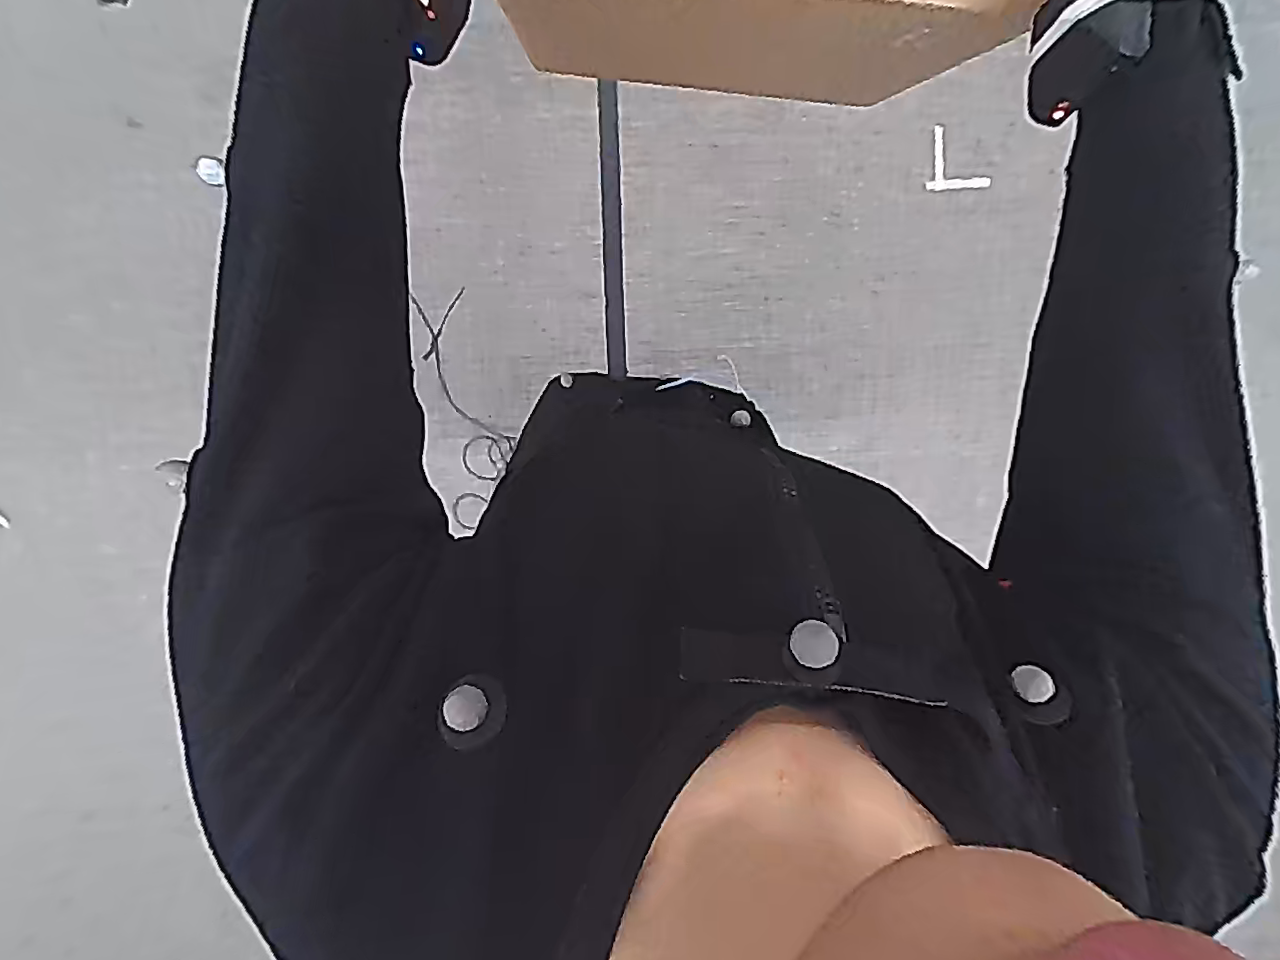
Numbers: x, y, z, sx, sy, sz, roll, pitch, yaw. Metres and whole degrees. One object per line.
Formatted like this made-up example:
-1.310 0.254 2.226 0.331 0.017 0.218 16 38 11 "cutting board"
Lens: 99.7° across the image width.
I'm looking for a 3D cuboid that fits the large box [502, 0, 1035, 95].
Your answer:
0.086 -0.542 0.439 0.408 0.320 0.320 2 116 -4 "large box"
